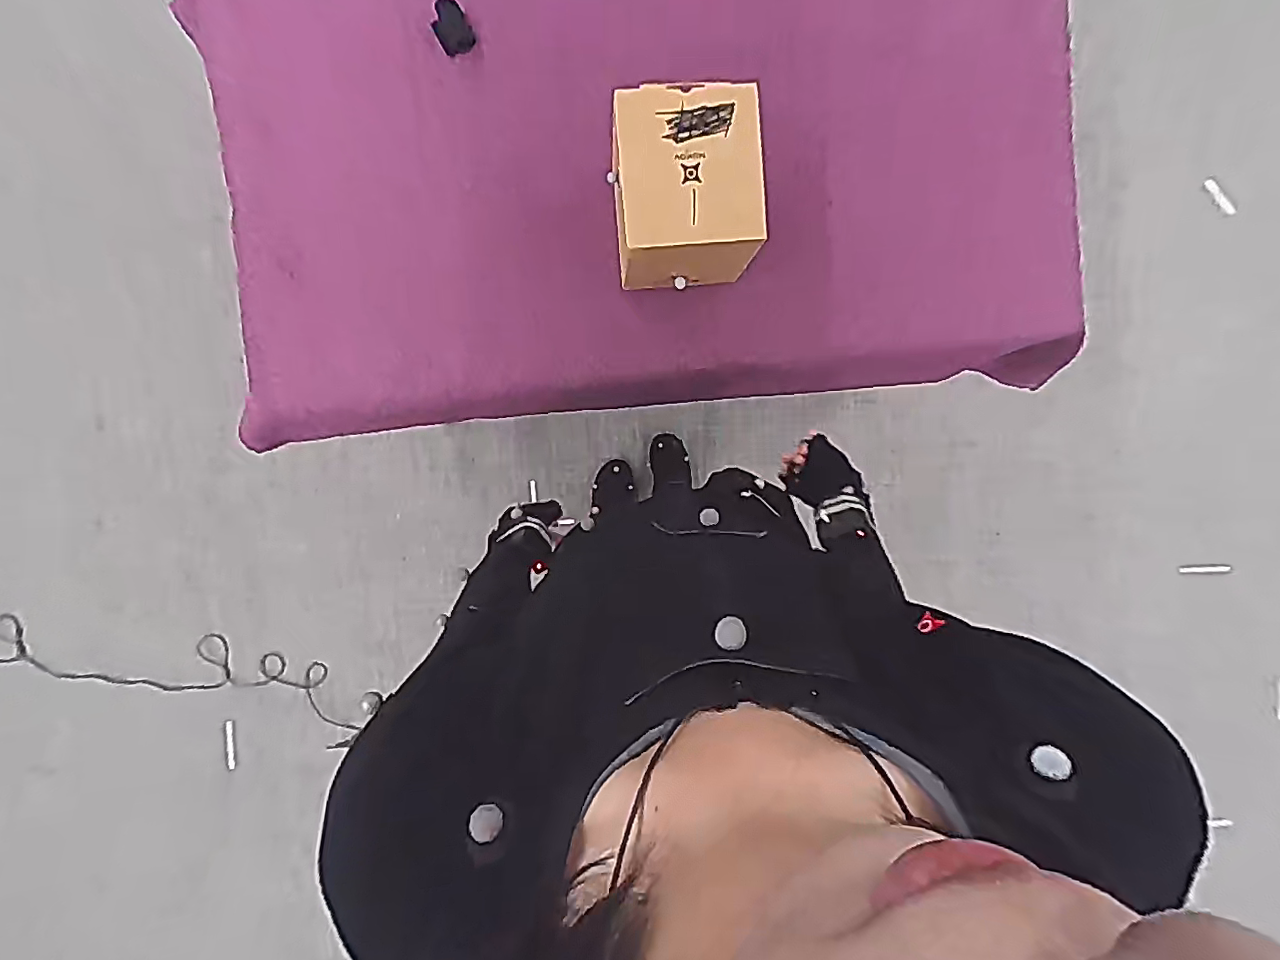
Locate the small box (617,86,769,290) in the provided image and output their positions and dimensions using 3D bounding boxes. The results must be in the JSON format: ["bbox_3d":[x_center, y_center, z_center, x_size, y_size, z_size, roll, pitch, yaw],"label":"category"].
[{"bbox_3d":[0.058,-0.362,0.697,0.168,0.176,0.179,-5,94,-2],"label":"small box"}]
